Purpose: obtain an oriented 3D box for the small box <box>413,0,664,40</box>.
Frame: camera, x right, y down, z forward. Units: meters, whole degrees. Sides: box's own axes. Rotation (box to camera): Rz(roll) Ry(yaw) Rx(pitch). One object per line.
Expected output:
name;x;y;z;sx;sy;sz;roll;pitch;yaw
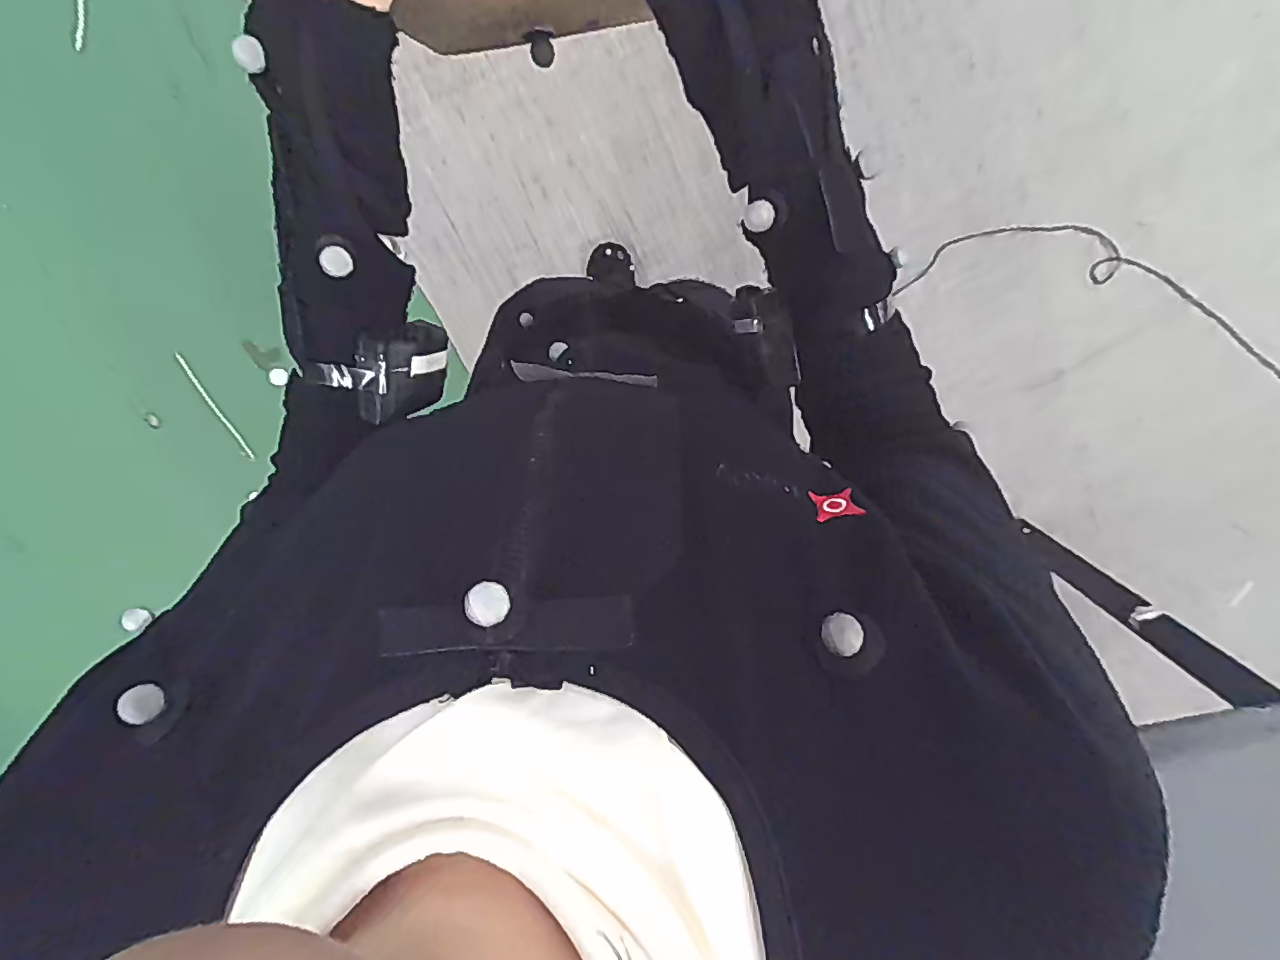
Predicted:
small box;-0.067;-0.351;0.263;0.168;0.176;0.179;-7;121;4
